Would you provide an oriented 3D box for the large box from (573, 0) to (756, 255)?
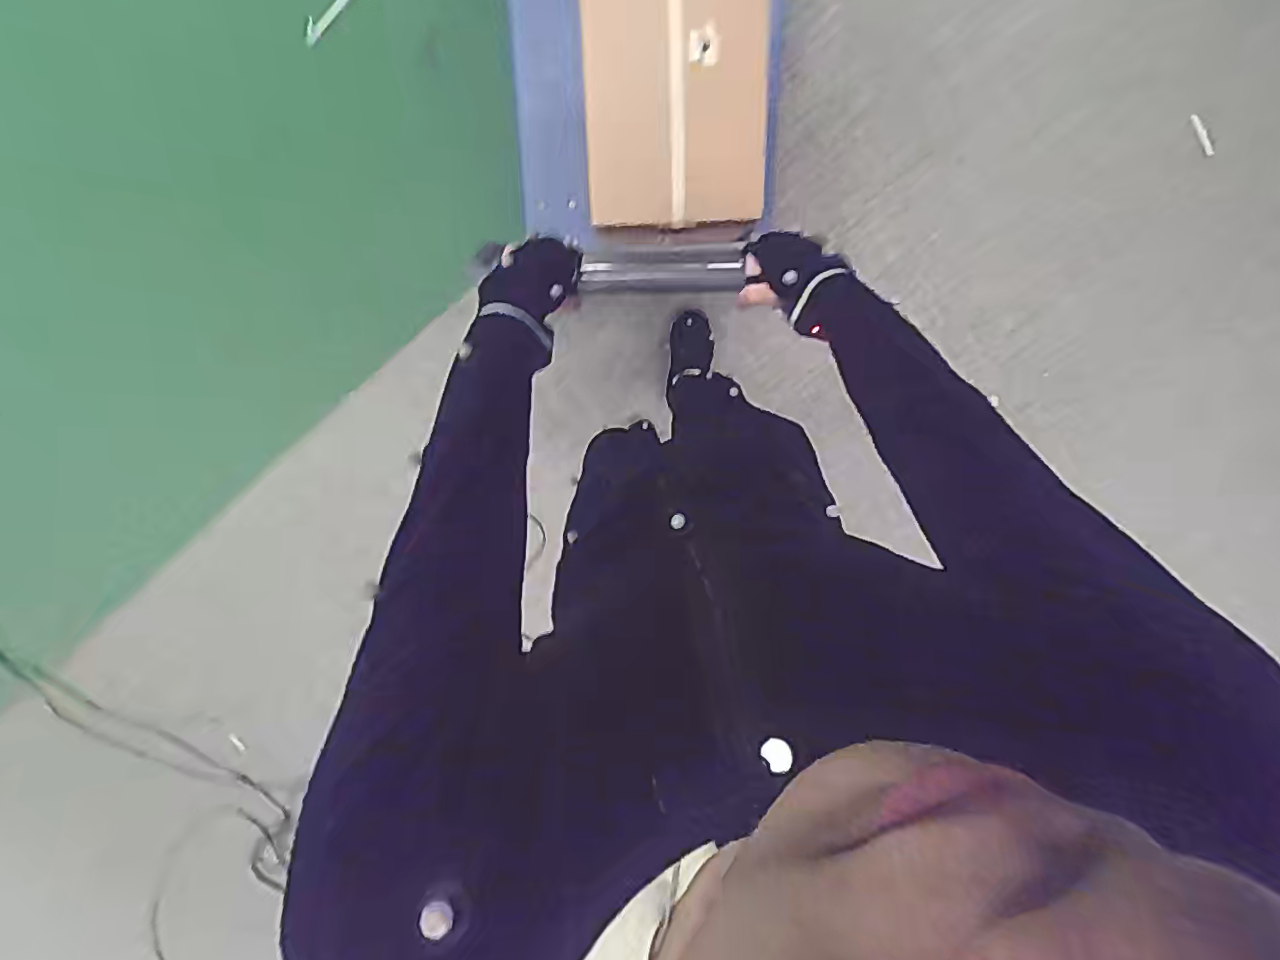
[{"bbox_3d":[0.052,-0.697,1.098,0.320,0.320,0.408,-2,106,1],"label":"large box"}]
